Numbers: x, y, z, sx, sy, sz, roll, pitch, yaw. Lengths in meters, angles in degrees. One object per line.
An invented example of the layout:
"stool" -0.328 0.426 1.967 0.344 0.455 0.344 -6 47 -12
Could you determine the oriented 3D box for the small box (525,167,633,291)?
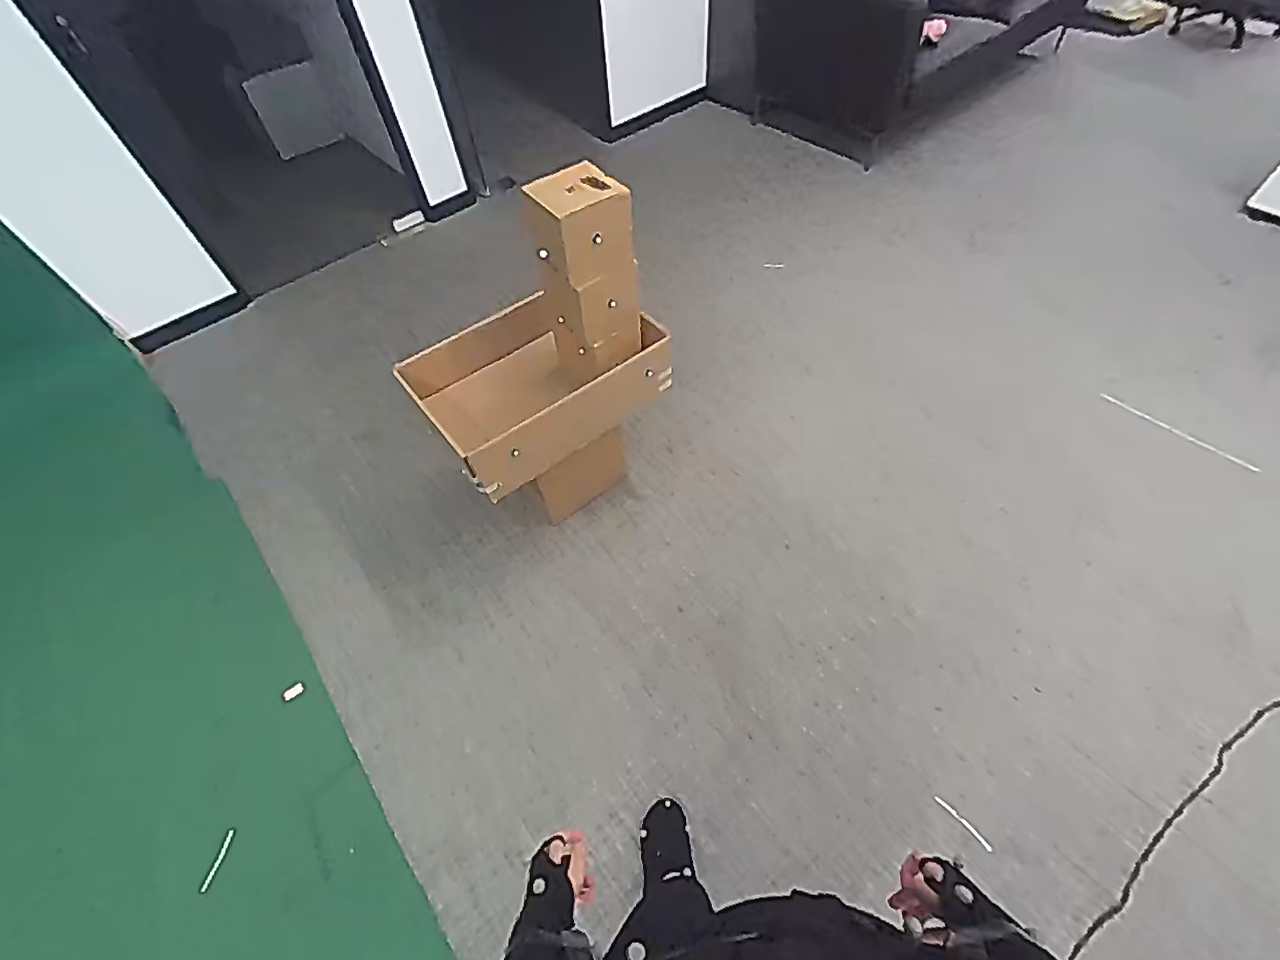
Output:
"small box" -0.130 -0.557 1.205 0.179 0.176 0.168 -32 59 -17
